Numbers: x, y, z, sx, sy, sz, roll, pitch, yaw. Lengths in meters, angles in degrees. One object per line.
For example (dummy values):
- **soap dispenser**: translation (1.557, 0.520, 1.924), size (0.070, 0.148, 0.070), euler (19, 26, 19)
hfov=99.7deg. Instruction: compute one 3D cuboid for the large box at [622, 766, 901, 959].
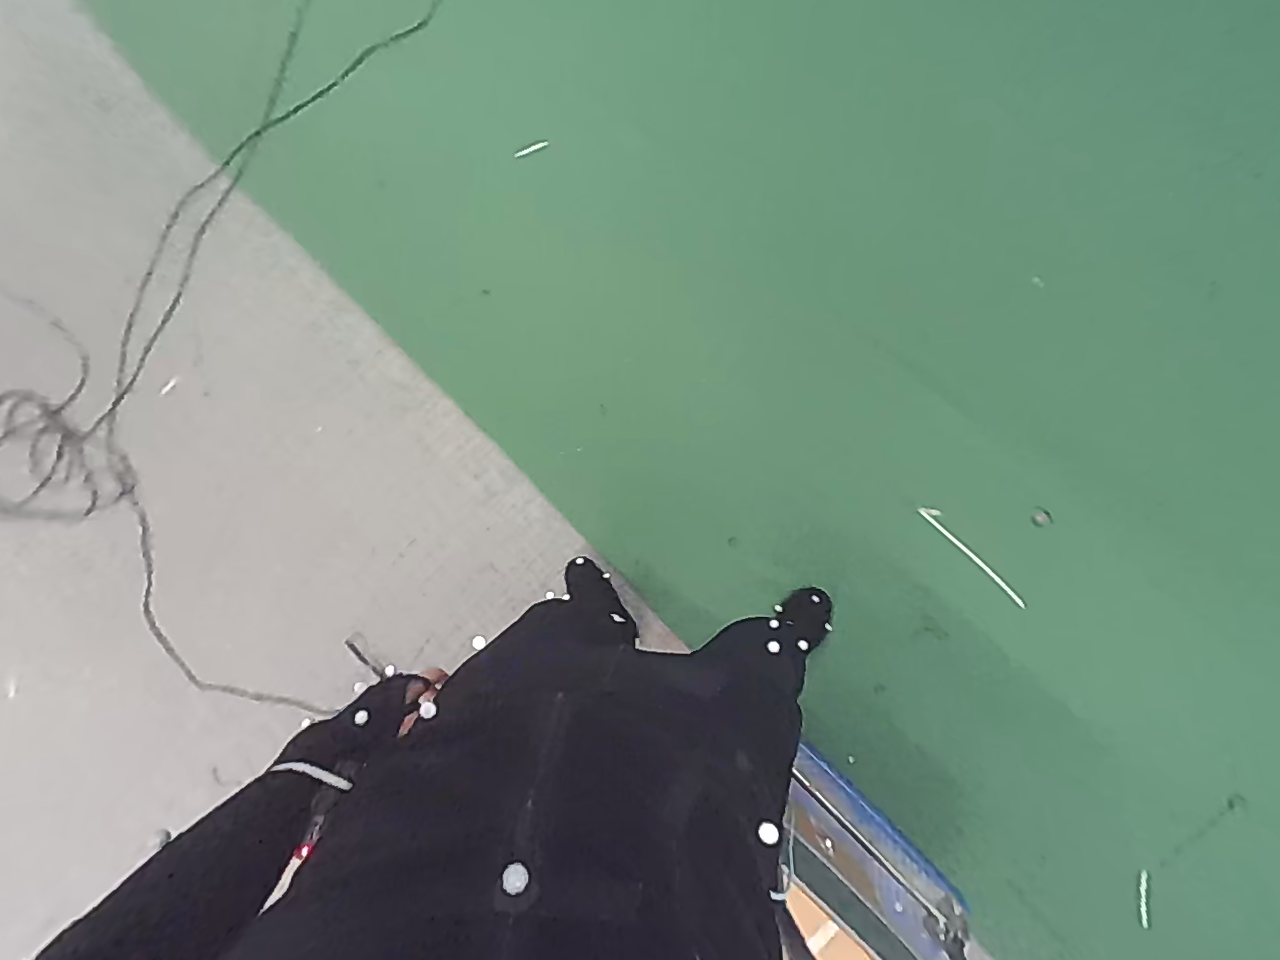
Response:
- **large box**: translation (0.210, 0.854, 1.020), size (0.320, 0.320, 0.408), euler (42, 94, 10)
